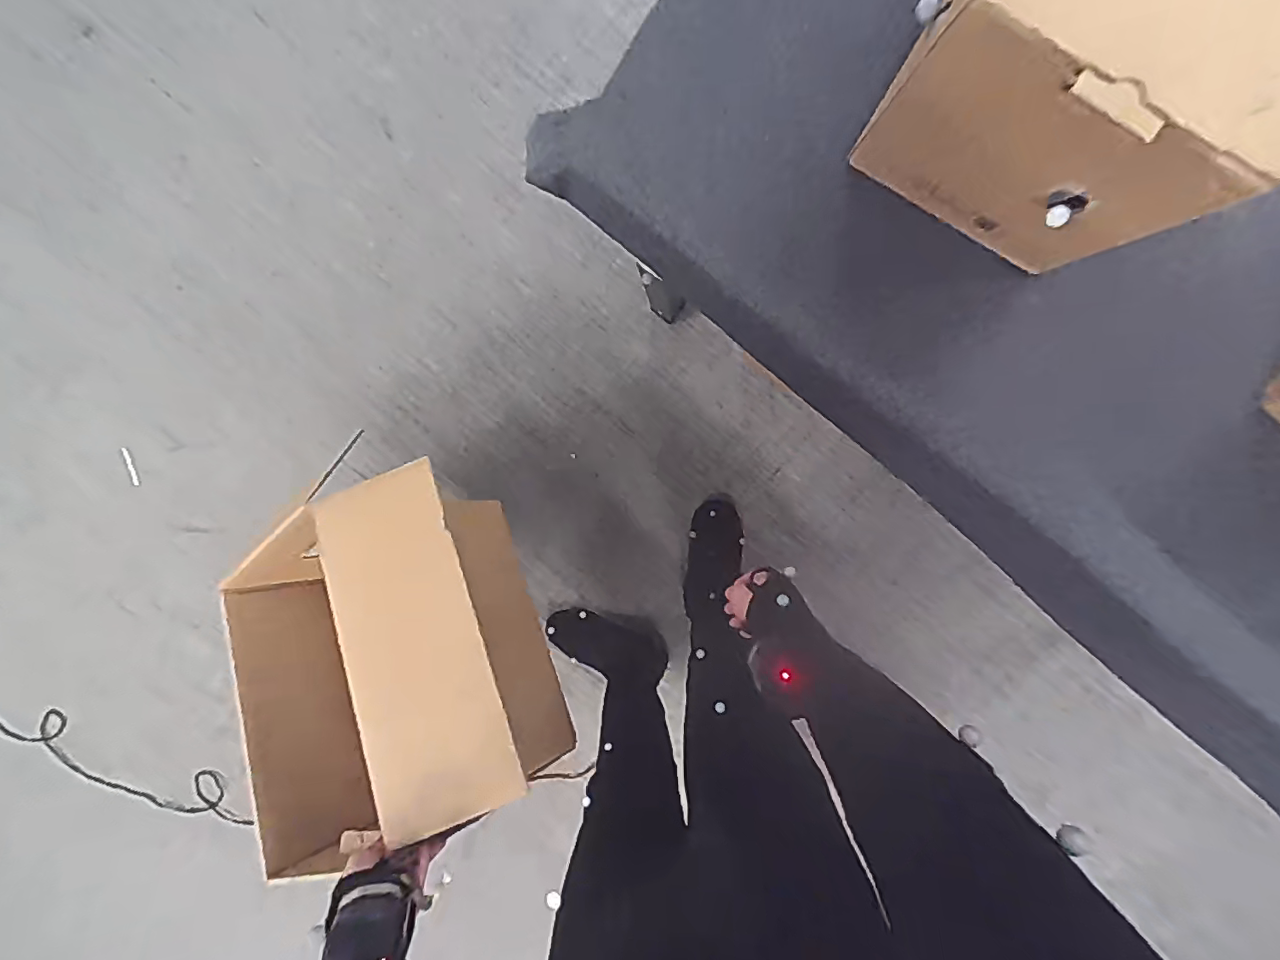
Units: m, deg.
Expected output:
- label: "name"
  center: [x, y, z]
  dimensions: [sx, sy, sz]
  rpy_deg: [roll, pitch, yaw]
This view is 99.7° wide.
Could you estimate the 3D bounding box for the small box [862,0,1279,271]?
- label: "small box"
  center: [0.257, -0.251, 0.312]
  dimensions: [0.168, 0.176, 0.179]
  rpy_deg: [29, 97, -2]
